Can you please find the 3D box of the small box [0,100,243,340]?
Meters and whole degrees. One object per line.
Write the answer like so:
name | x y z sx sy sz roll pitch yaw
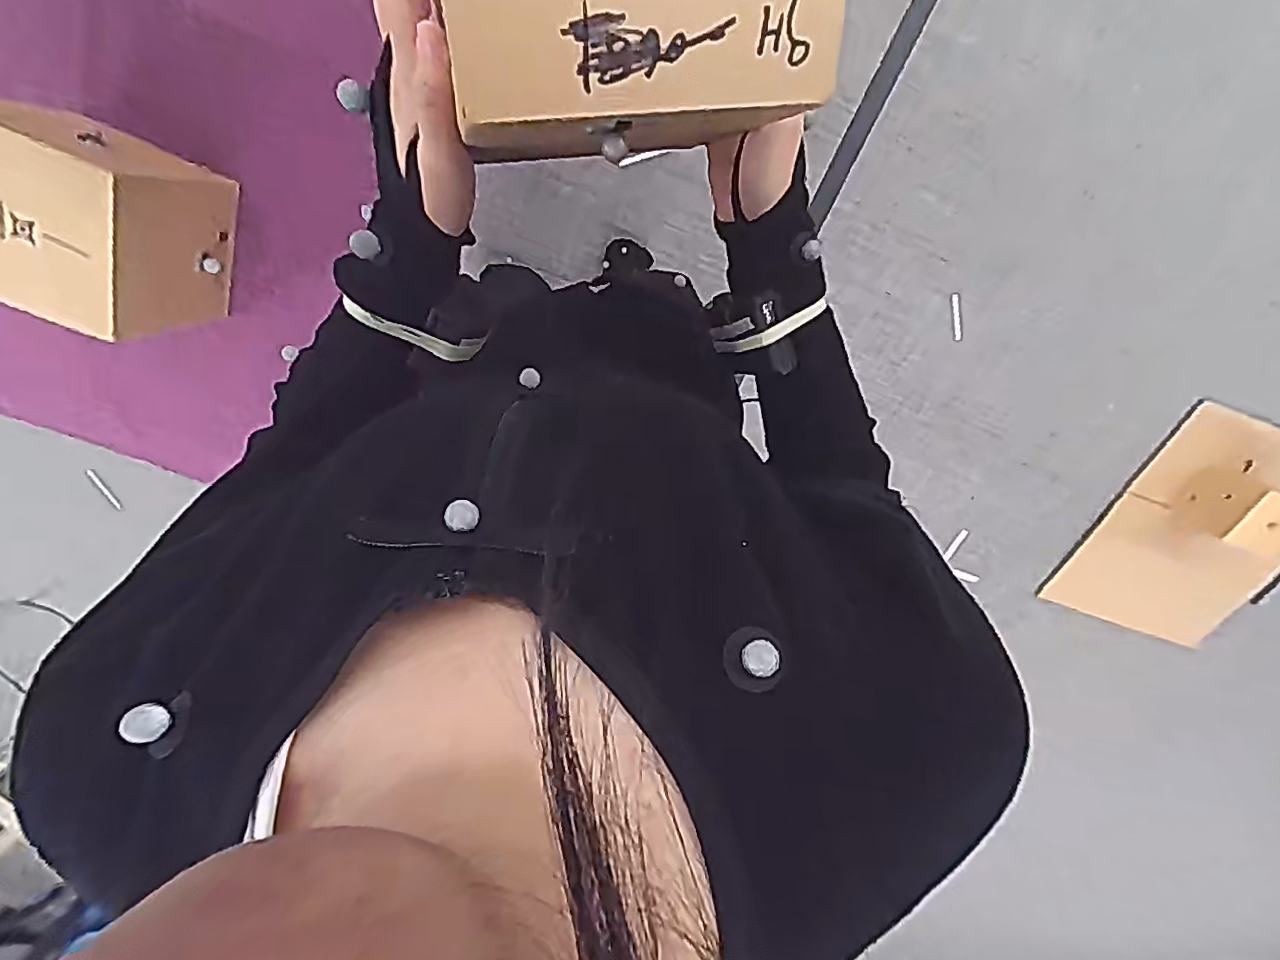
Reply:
small box | -0.571 -0.271 0.569 0.179 0.176 0.168 22 114 -9

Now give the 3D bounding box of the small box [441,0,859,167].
small box | -0.013 -0.261 0.256 0.168 0.176 0.179 -11 117 -12

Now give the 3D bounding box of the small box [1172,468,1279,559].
small box | 1.642 0.084 1.478 0.179 0.176 0.168 17 115 -6
